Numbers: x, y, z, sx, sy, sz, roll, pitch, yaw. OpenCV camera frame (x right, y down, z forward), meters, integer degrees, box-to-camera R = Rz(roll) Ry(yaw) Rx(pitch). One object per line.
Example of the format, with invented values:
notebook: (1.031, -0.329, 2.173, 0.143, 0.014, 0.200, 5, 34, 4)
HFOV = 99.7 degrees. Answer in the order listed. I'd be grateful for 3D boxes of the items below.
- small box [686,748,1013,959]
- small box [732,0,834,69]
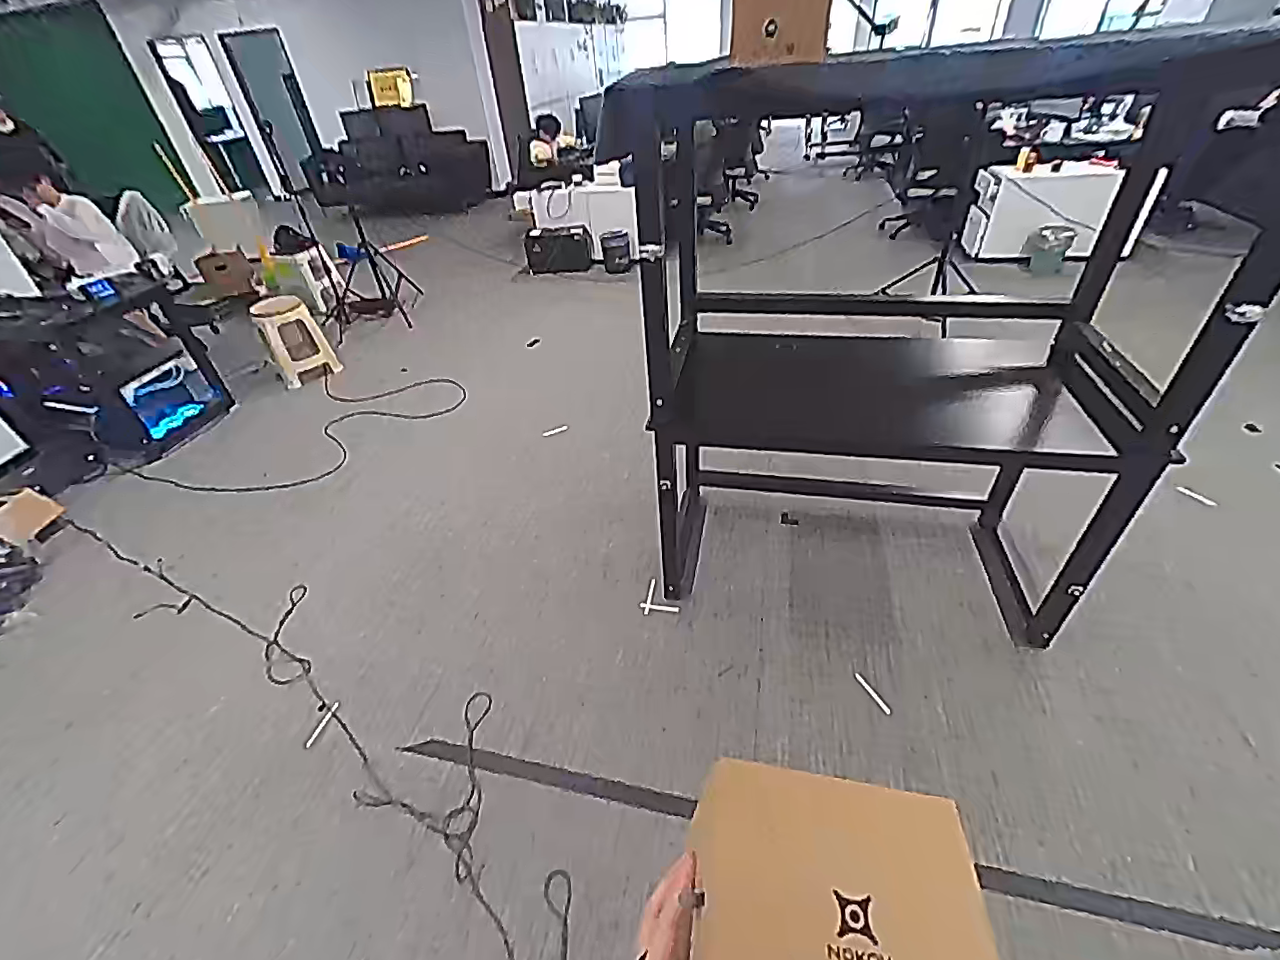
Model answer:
small box: (0.121, 0.316, 0.360, 0.168, 0.176, 0.179, 8, 40, 4)
small box: (0.255, -0.842, 0.965, 0.168, 0.176, 0.179, 5, 38, 11)
